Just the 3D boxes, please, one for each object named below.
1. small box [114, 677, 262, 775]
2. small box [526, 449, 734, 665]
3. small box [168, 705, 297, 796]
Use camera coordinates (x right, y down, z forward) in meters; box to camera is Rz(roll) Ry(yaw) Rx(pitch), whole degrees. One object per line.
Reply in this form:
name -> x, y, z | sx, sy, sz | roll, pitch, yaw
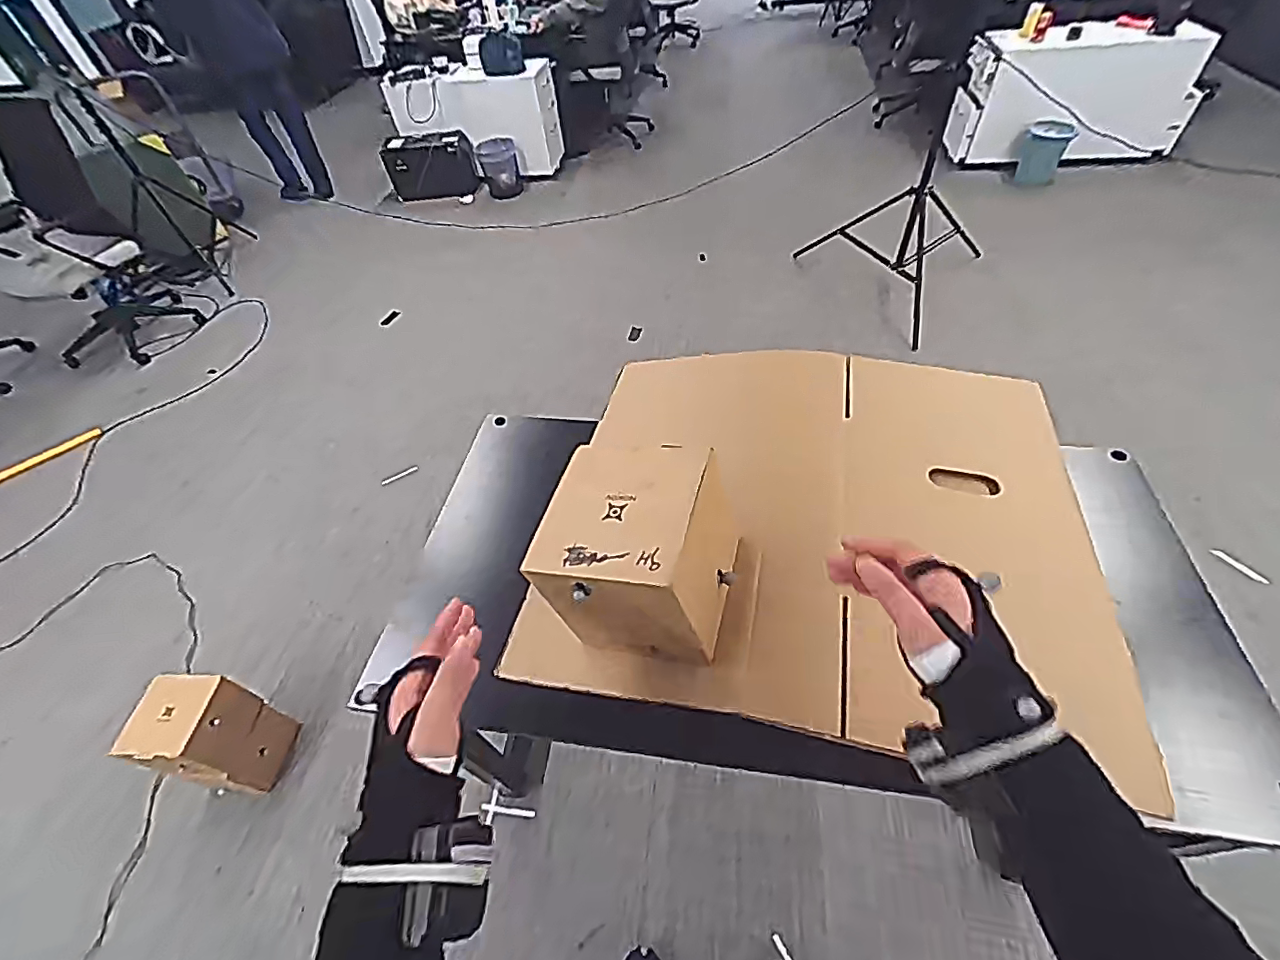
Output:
small box -> -1.036, 0.577, 1.261 | 0.168, 0.176, 0.179 | -1, 49, 4
small box -> 0.005, 0.083, 0.620 | 0.168, 0.176, 0.179 | 1, 49, 25
small box -> -1.022, 0.687, 1.381 | 0.168, 0.176, 0.179 | 1, 50, 6
